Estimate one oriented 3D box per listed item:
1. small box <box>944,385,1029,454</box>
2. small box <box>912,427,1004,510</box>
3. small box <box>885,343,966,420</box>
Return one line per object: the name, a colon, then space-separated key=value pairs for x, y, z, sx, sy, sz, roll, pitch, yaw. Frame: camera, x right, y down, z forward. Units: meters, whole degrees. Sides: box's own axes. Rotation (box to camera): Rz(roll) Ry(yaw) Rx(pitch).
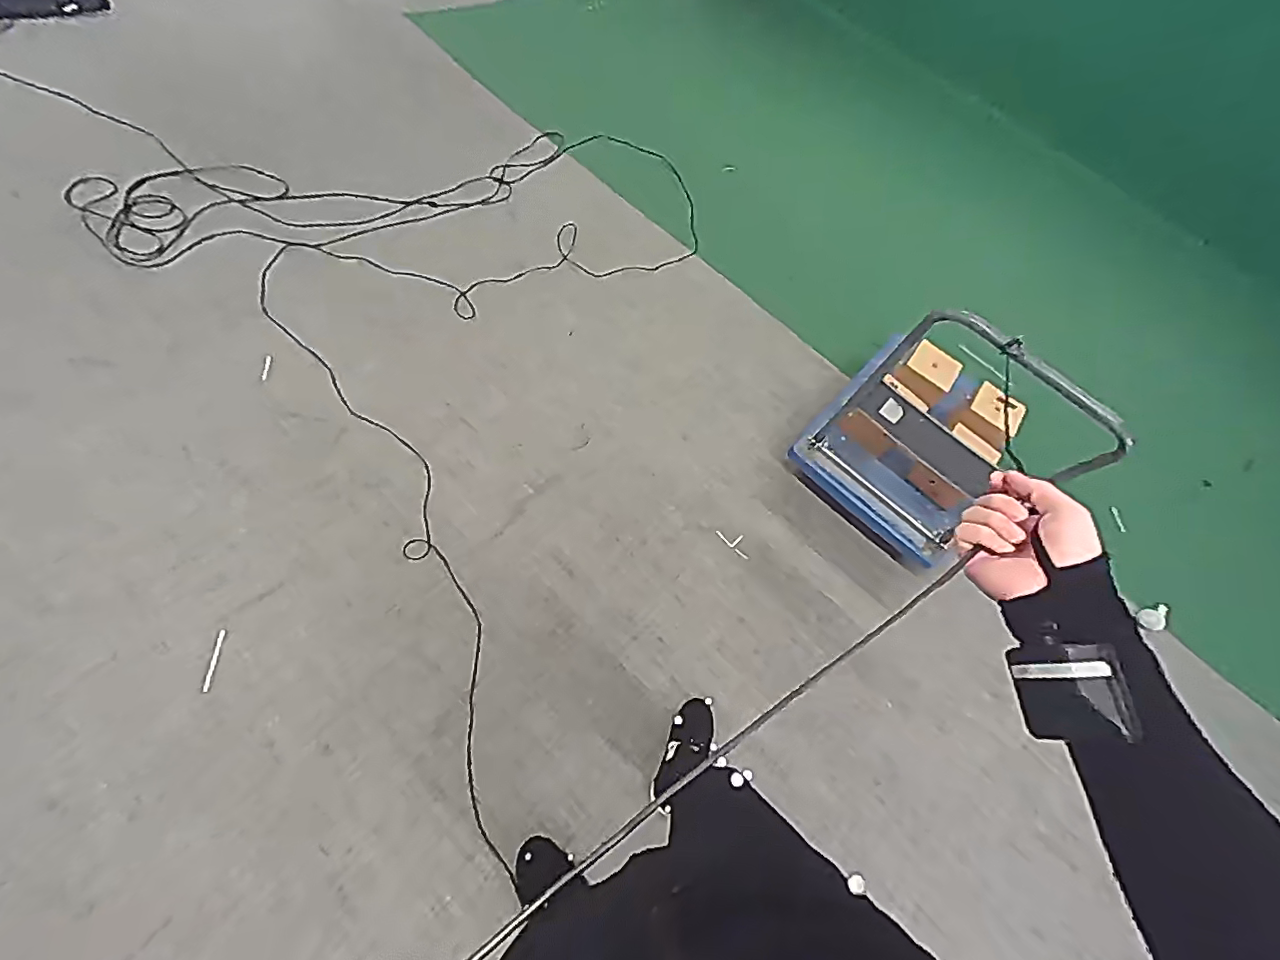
small box: x=1.206 y=-0.191 z=1.892 sx=0.168 sy=0.176 sz=0.179 roll=39 pitch=61 yaw=10
small box: x=1.028 y=-0.034 z=1.763 sx=0.168 sy=0.176 sz=0.179 roll=43 pitch=62 yaw=11
small box: x=1.012 y=-0.346 z=1.931 sx=0.168 sy=0.176 sz=0.179 roll=40 pitch=60 yaw=9
